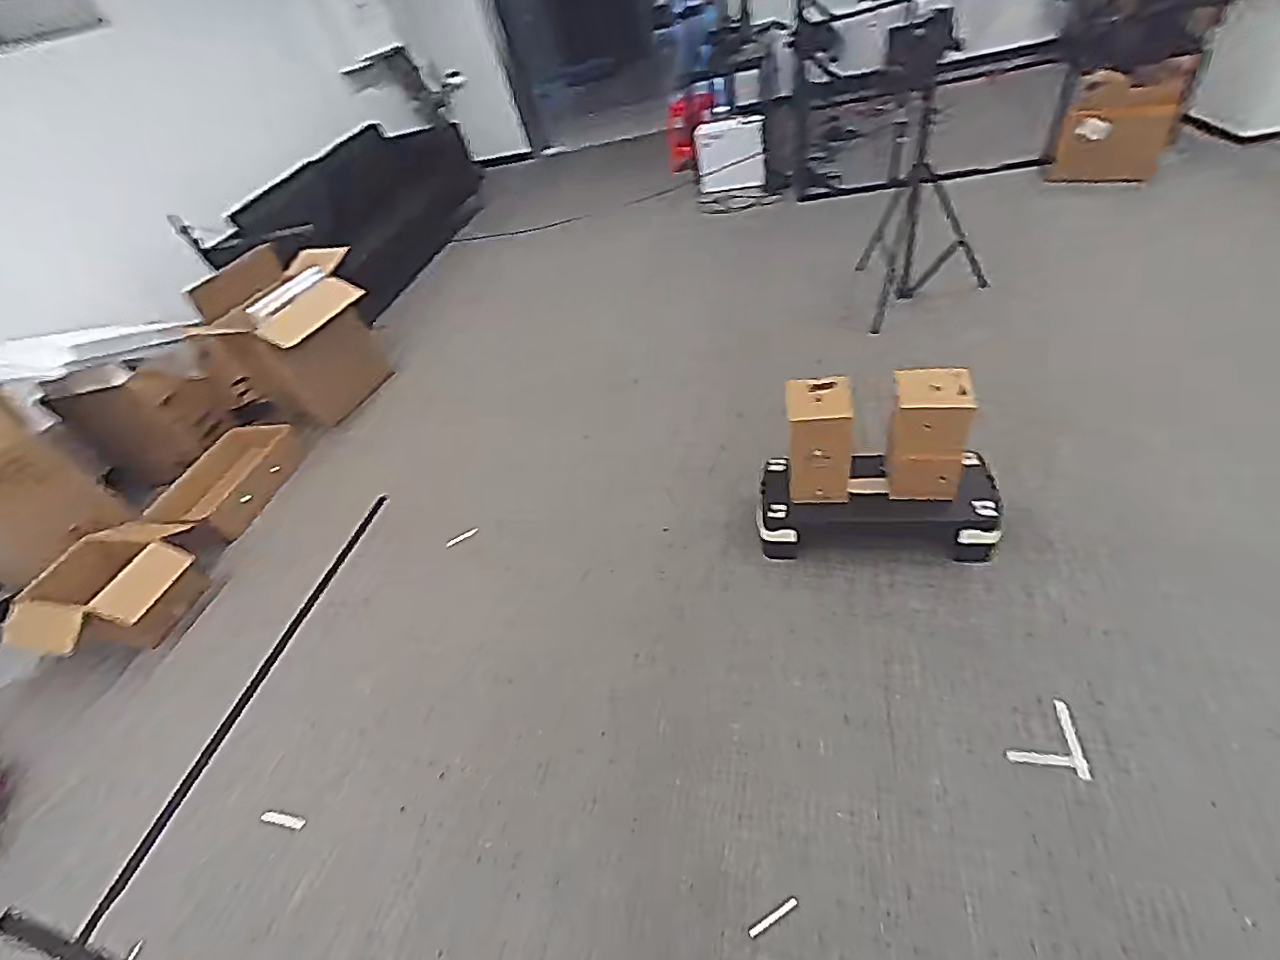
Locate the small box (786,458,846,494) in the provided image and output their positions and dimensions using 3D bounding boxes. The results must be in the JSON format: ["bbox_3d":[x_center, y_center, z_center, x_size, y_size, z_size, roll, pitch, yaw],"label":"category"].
[{"bbox_3d":[0.531,-0.051,1.646,0.168,0.176,0.179,-2,47,16],"label":"small box"}]

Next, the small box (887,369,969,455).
[{"bbox_3d":[0.771,-0.182,1.467,0.179,0.176,0.168,1,47,20],"label":"small box"}]

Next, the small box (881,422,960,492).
[{"bbox_3d":[0.800,-0.056,1.568,0.179,0.176,0.168,-1,46,17],"label":"small box"}]

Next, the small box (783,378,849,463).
[{"bbox_3d":[0.493,-0.167,1.536,0.168,0.176,0.179,-3,47,15],"label":"small box"}]
